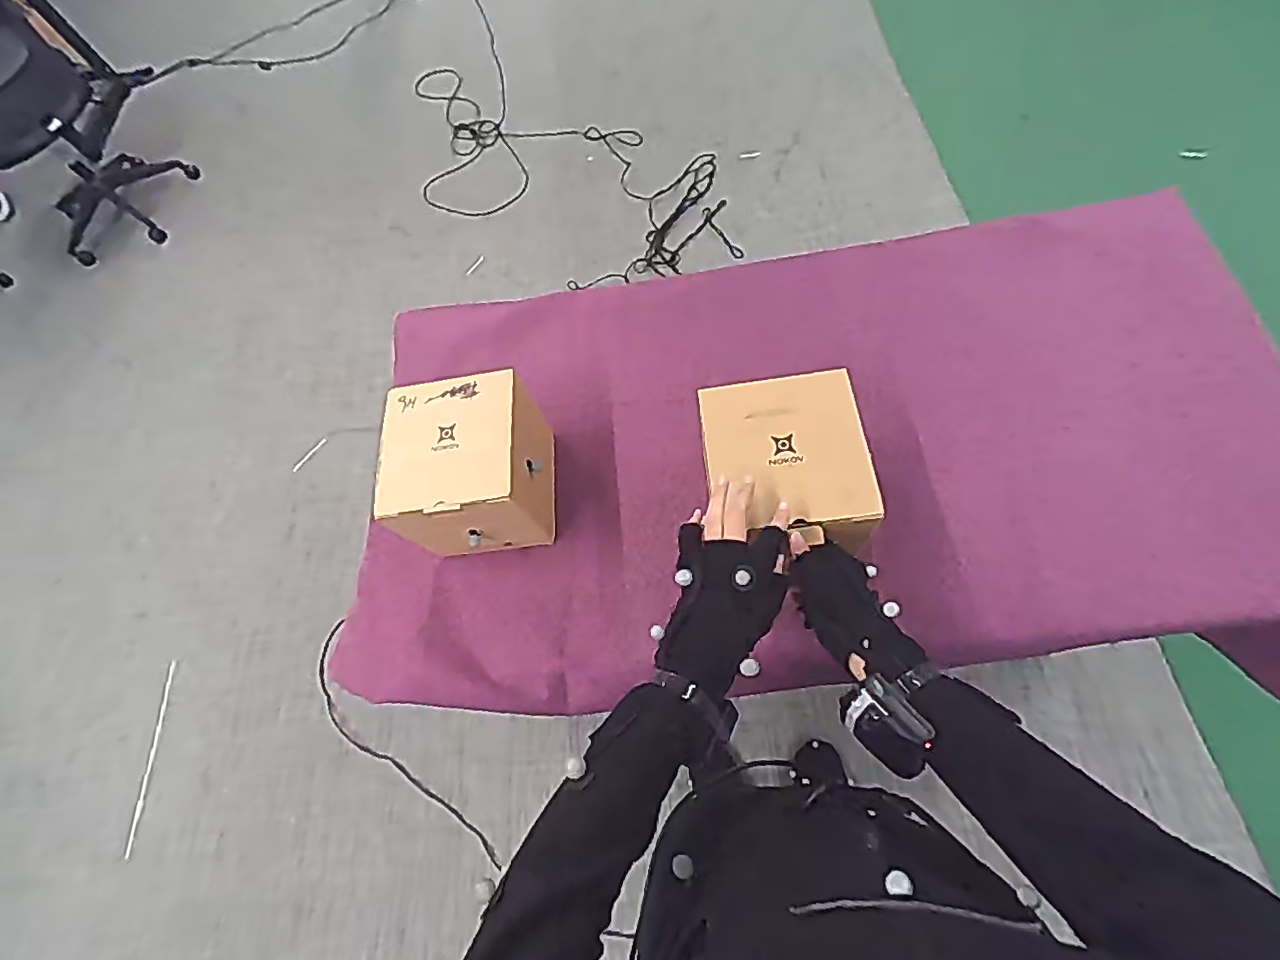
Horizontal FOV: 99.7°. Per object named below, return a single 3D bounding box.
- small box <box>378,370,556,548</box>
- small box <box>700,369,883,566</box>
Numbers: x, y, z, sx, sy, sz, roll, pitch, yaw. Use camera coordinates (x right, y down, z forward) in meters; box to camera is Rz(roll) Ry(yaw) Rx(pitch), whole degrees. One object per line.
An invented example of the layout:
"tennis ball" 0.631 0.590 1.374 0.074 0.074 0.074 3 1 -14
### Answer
"small box" -0.212 -0.015 0.710 0.168 0.176 0.179 -8 66 6
"small box" 0.165 -0.002 0.638 0.168 0.176 0.179 -7 65 7
